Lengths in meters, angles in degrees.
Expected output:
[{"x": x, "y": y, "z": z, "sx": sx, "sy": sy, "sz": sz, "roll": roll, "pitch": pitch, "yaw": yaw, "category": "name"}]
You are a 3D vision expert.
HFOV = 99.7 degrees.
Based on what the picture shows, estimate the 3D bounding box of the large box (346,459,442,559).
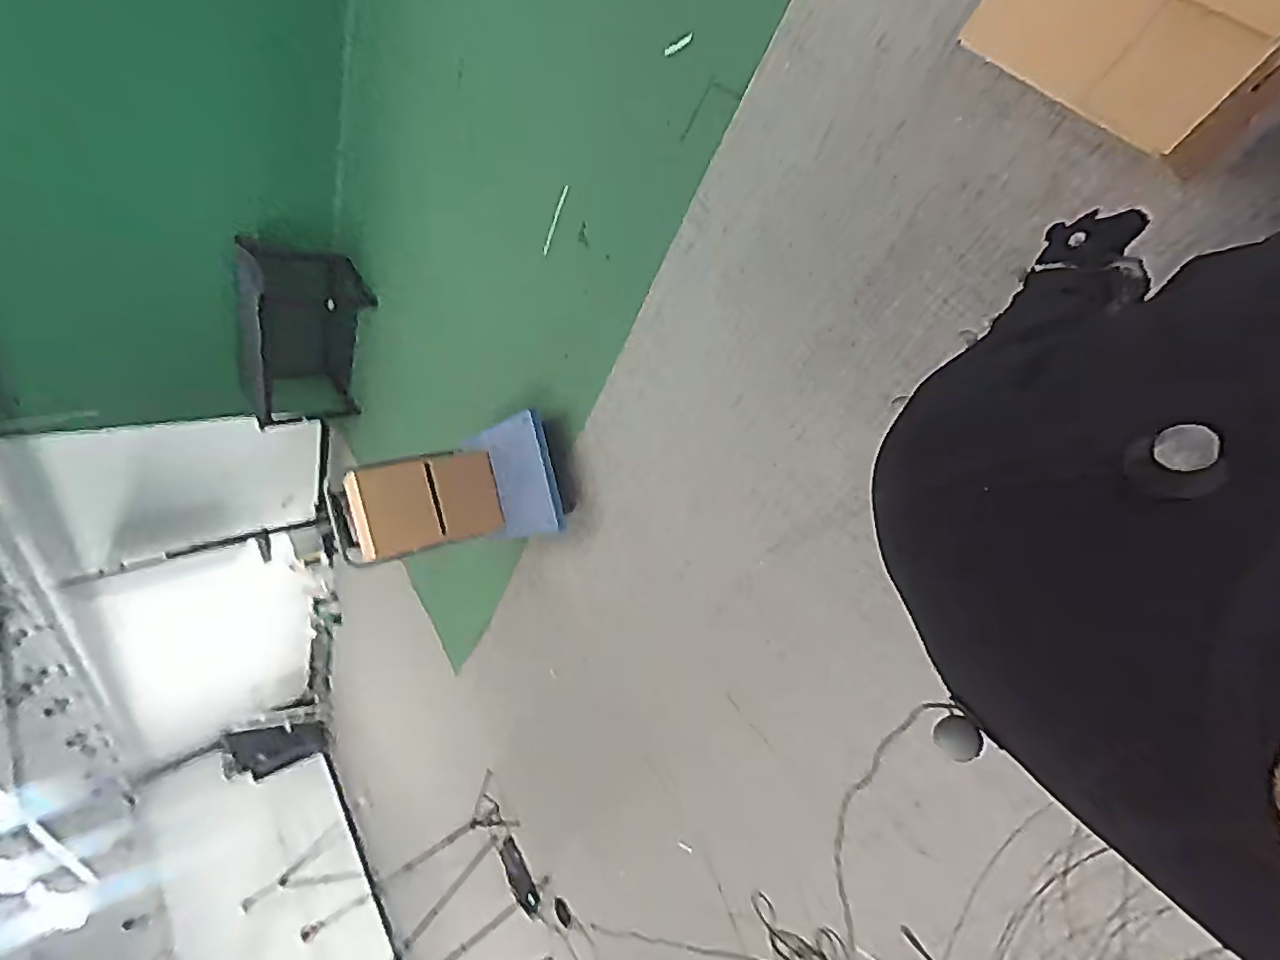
[{"x": -1.180, "y": 0.140, "z": 2.589, "sx": 0.320, "sy": 0.320, "sz": 0.408, "roll": -16, "pitch": 88, "yaw": 53, "category": "large box"}]
